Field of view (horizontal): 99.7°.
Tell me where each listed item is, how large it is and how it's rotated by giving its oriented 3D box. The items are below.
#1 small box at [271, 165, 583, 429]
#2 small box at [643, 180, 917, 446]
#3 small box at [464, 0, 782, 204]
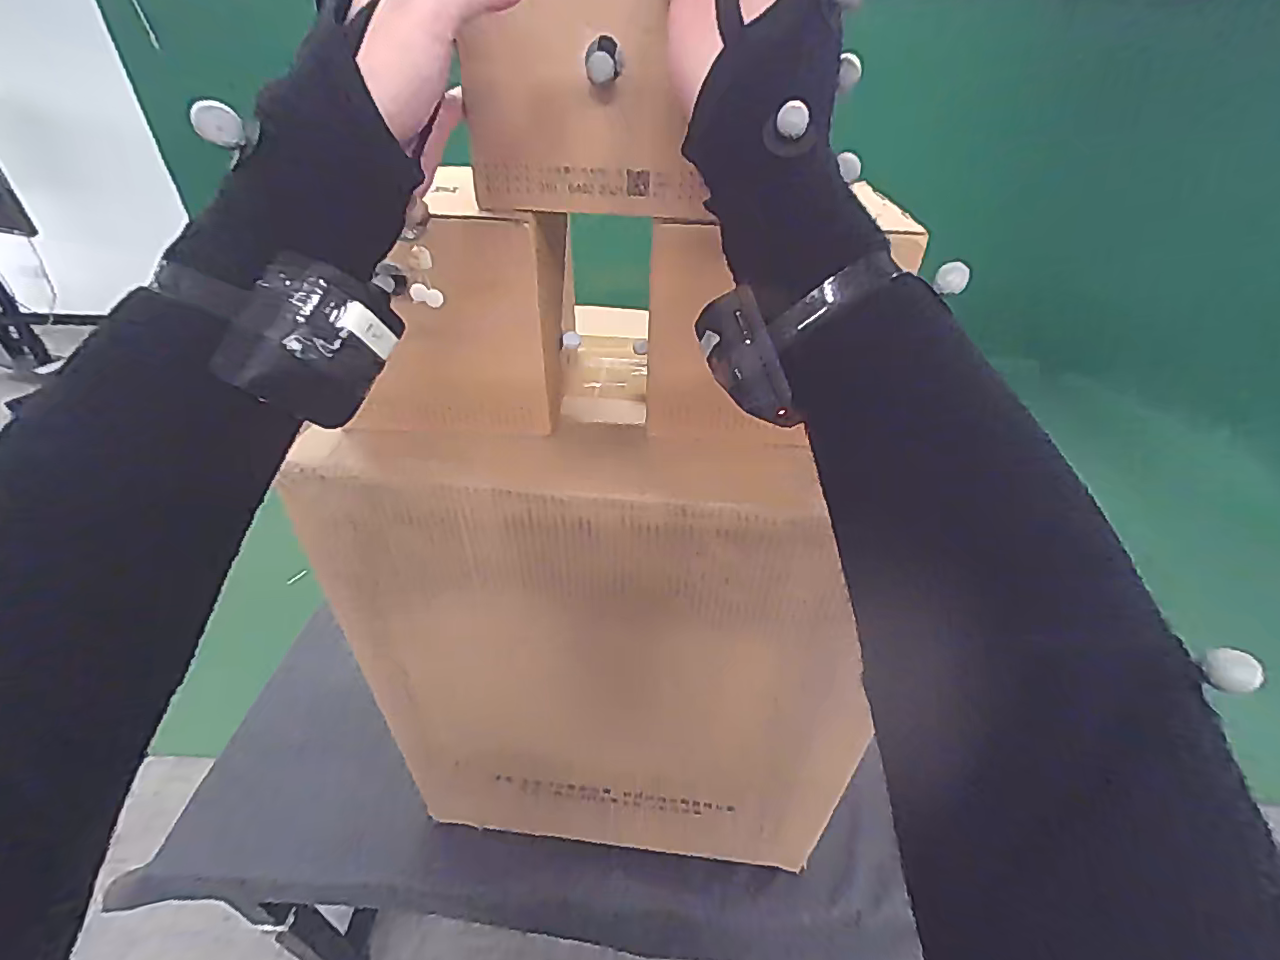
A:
[{"bbox_3d":[-0.153,-0.158,0.464,0.179,0.176,0.168,4,41,5],"label":"small box"},{"bbox_3d":[0.098,-0.143,0.458,0.179,0.176,0.168,4,38,4],"label":"small box"},{"bbox_3d":[-0.015,-0.299,0.373,0.179,0.176,0.168,-17,41,-21],"label":"small box"}]
